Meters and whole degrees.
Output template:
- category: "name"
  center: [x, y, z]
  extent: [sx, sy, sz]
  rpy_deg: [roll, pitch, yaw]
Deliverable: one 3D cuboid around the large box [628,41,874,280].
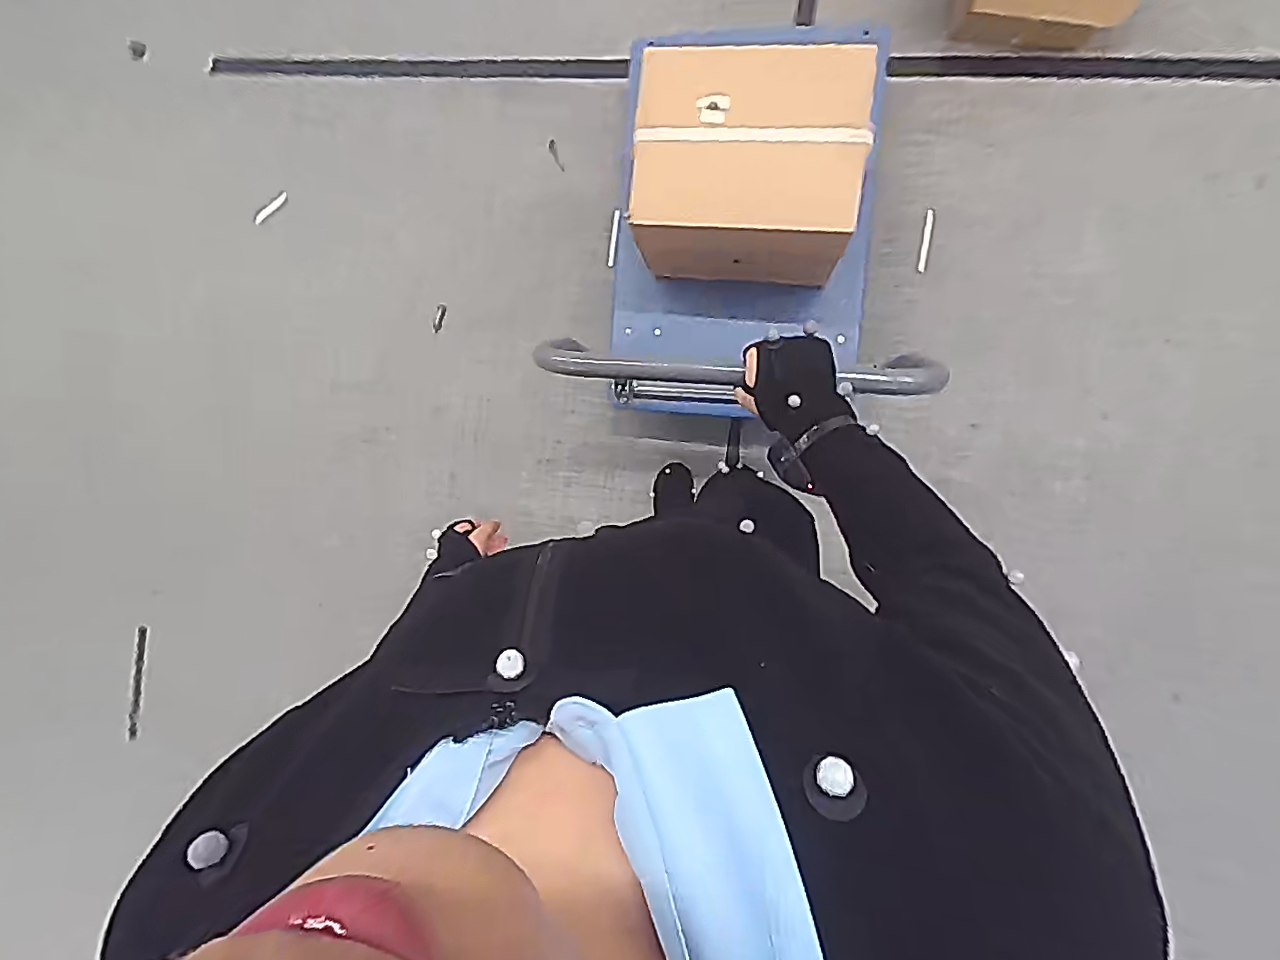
- category: "large box"
  center: [0.213, -0.607, 1.089]
  extent: [0.408, 0.320, 0.320]
  rpy_deg: [7, 93, 10]
